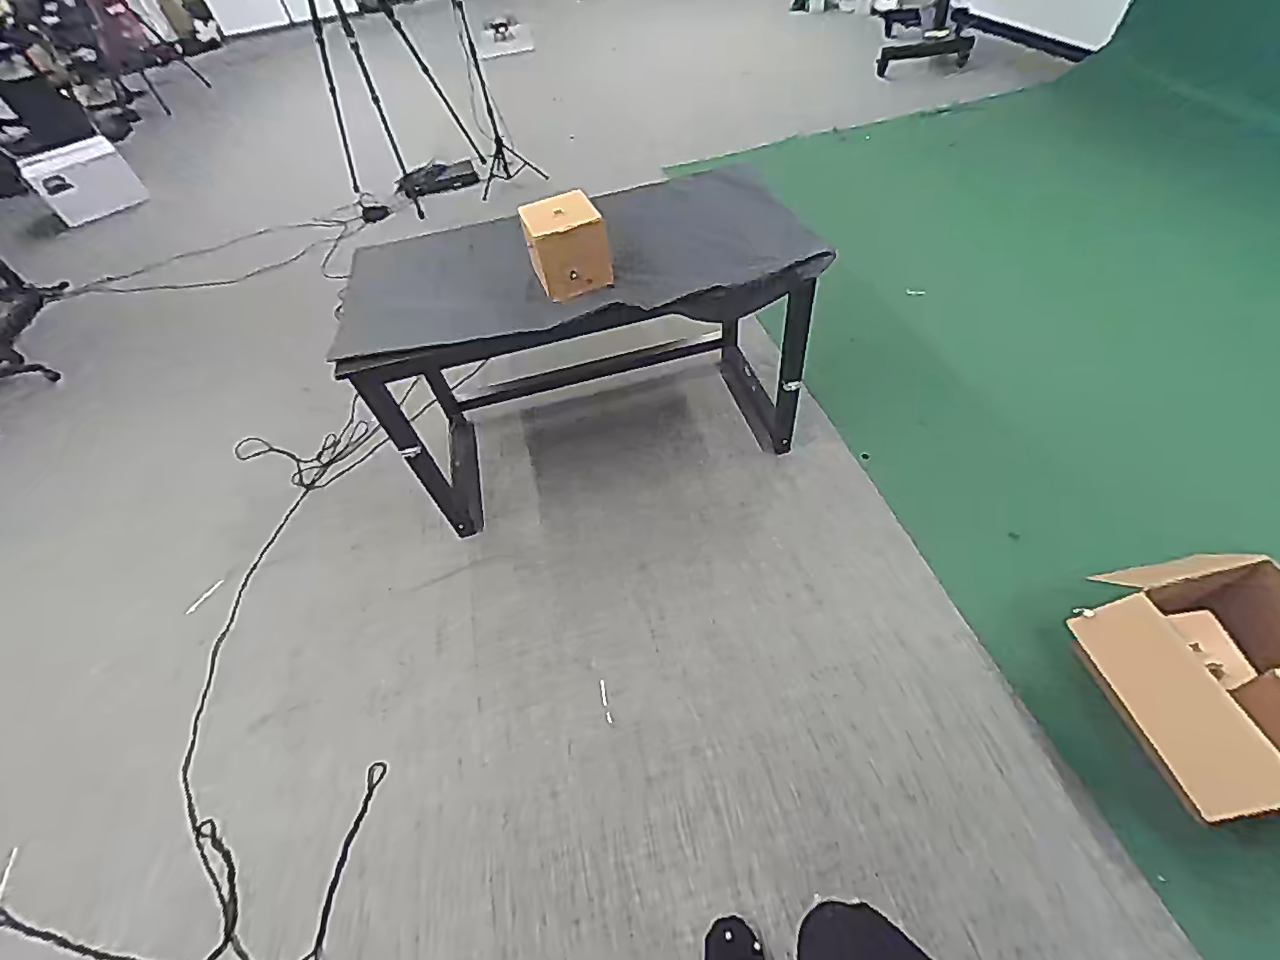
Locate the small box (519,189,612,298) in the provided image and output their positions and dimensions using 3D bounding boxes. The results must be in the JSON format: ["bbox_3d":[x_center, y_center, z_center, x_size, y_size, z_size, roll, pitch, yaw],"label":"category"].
[{"bbox_3d":[-0.180,-0.576,1.324,0.168,0.176,0.179,-21,52,-9],"label":"small box"}]
